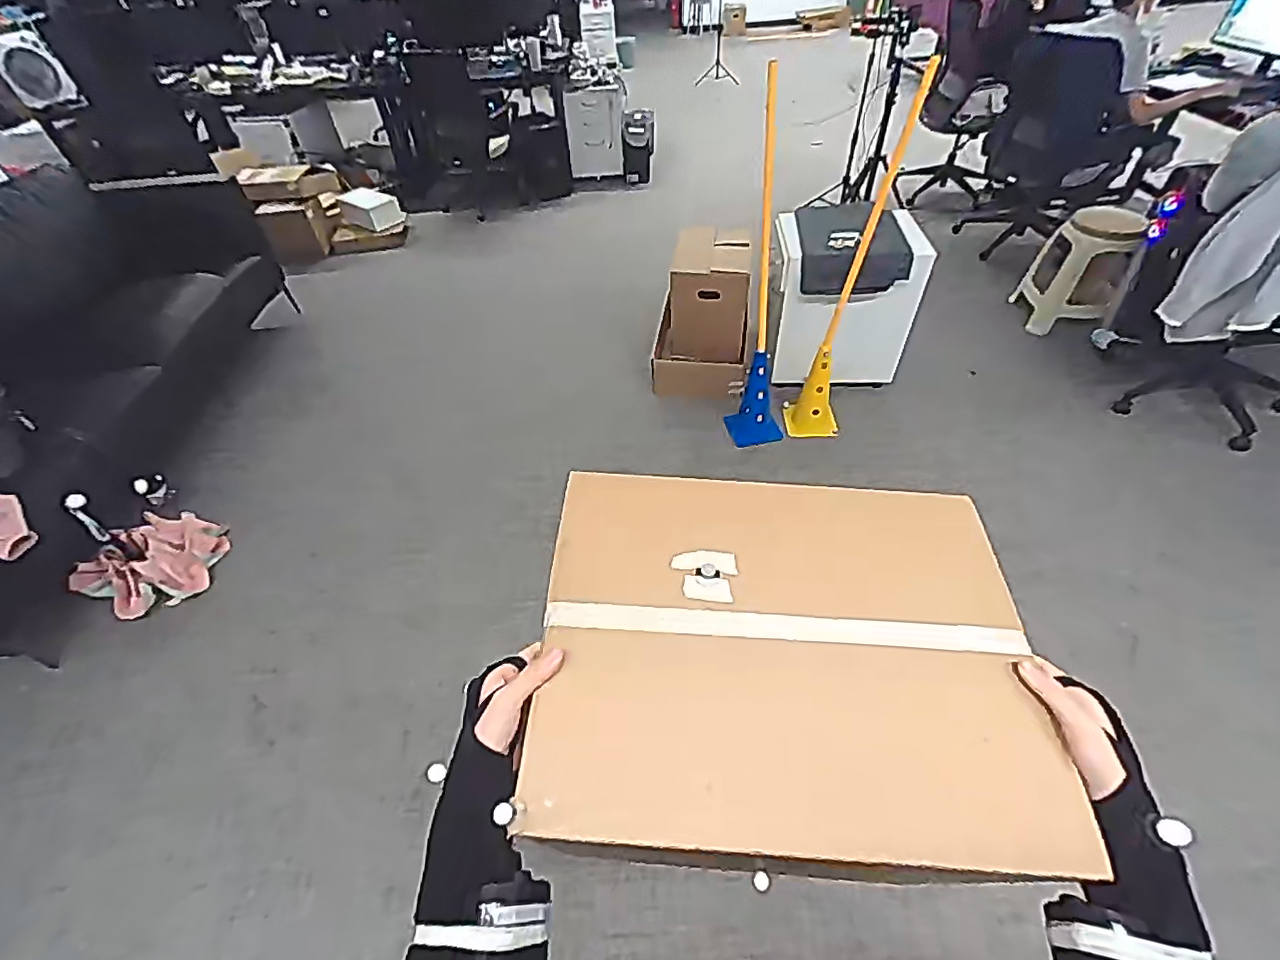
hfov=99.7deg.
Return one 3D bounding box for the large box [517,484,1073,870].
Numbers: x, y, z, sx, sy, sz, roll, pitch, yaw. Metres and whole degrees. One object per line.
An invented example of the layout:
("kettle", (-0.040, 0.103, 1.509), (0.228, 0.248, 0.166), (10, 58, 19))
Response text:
("large box", (0.117, 0.223, 0.590), (0.408, 0.320, 0.320), (3, 53, 2))
